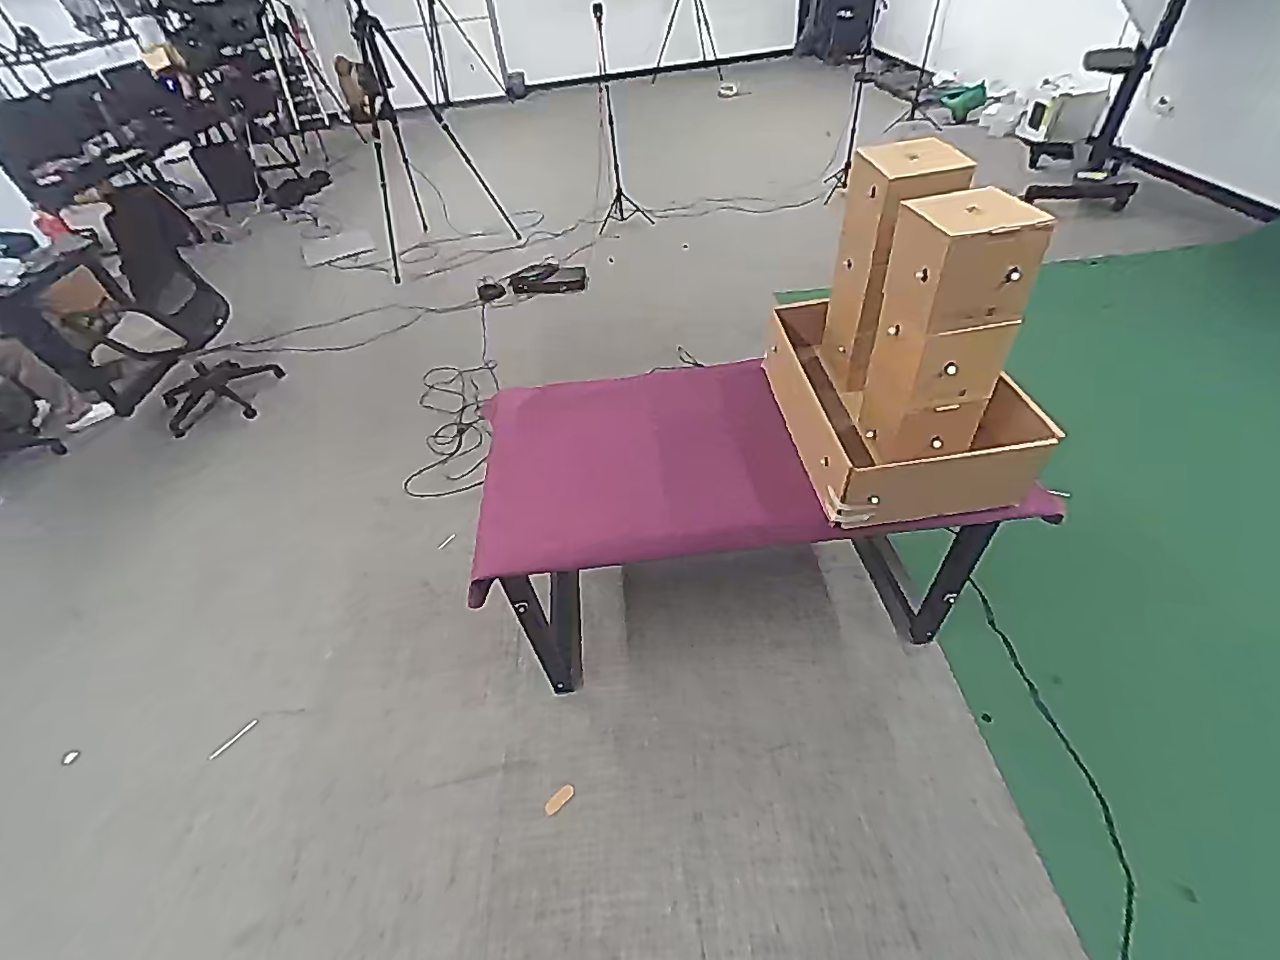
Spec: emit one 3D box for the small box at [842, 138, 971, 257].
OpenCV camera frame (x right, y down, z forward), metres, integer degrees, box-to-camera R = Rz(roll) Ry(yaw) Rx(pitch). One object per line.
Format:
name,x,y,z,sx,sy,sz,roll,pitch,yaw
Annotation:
small box,0.534,-0.572,1.110,0.168,0.176,0.179,-8,47,1

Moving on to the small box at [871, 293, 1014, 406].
small box,0.565,-0.257,1.039,0.168,0.176,0.179,-9,44,2

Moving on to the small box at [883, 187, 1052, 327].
small box,0.543,-0.375,0.928,0.168,0.176,0.179,-9,44,1

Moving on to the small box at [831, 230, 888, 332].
small box,0.550,-0.463,1.233,0.168,0.176,0.179,-9,47,1
